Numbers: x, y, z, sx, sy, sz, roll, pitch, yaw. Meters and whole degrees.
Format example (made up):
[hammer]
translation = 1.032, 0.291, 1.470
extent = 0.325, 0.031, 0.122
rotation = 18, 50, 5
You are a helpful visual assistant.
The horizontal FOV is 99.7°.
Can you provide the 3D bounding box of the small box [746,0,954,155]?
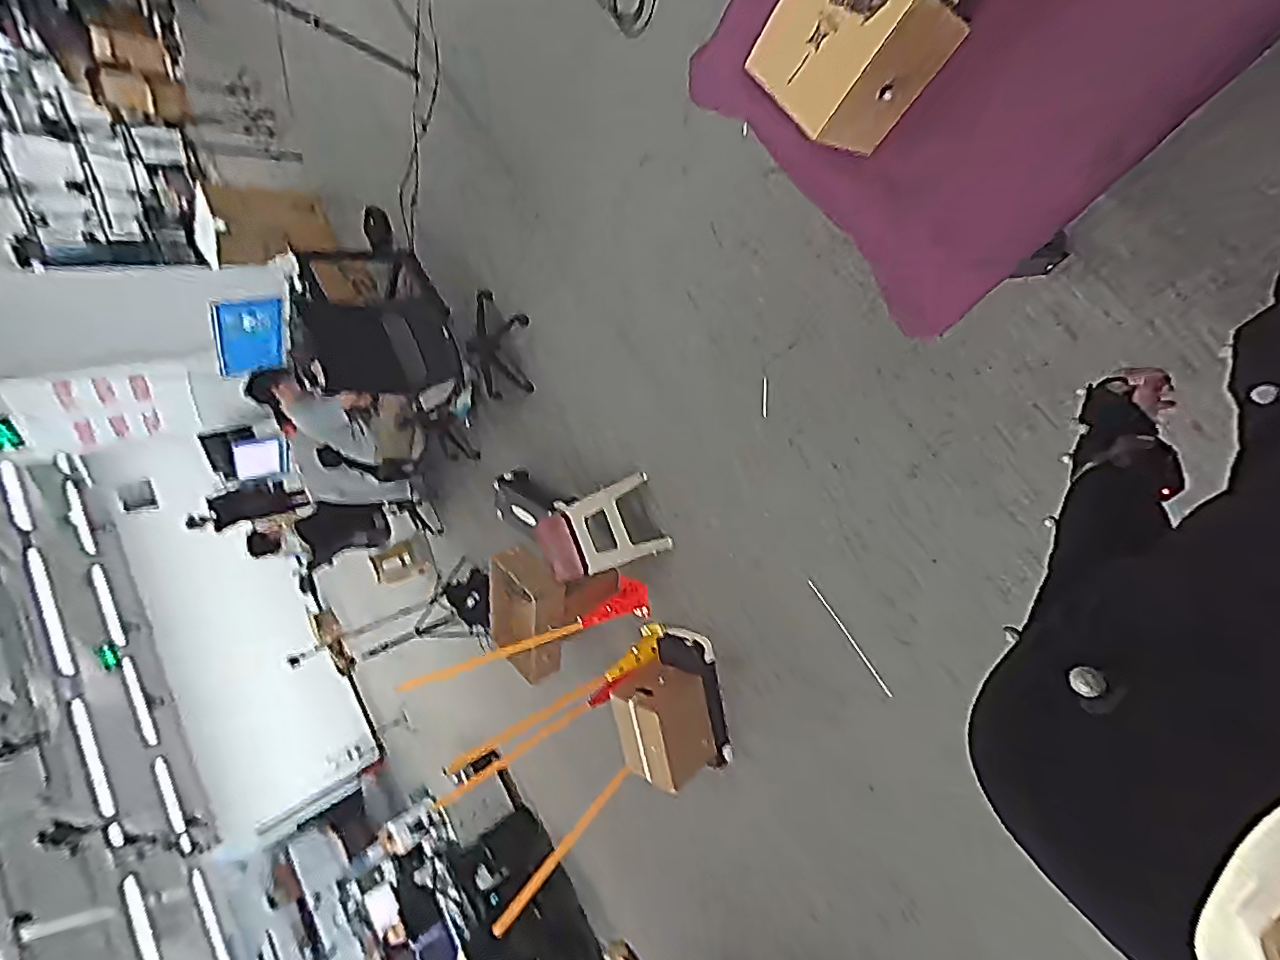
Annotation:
[small box]
translation = 0.285, -0.575, 0.726
extent = 0.168, 0.176, 0.179
rotation = 57, 139, 14
